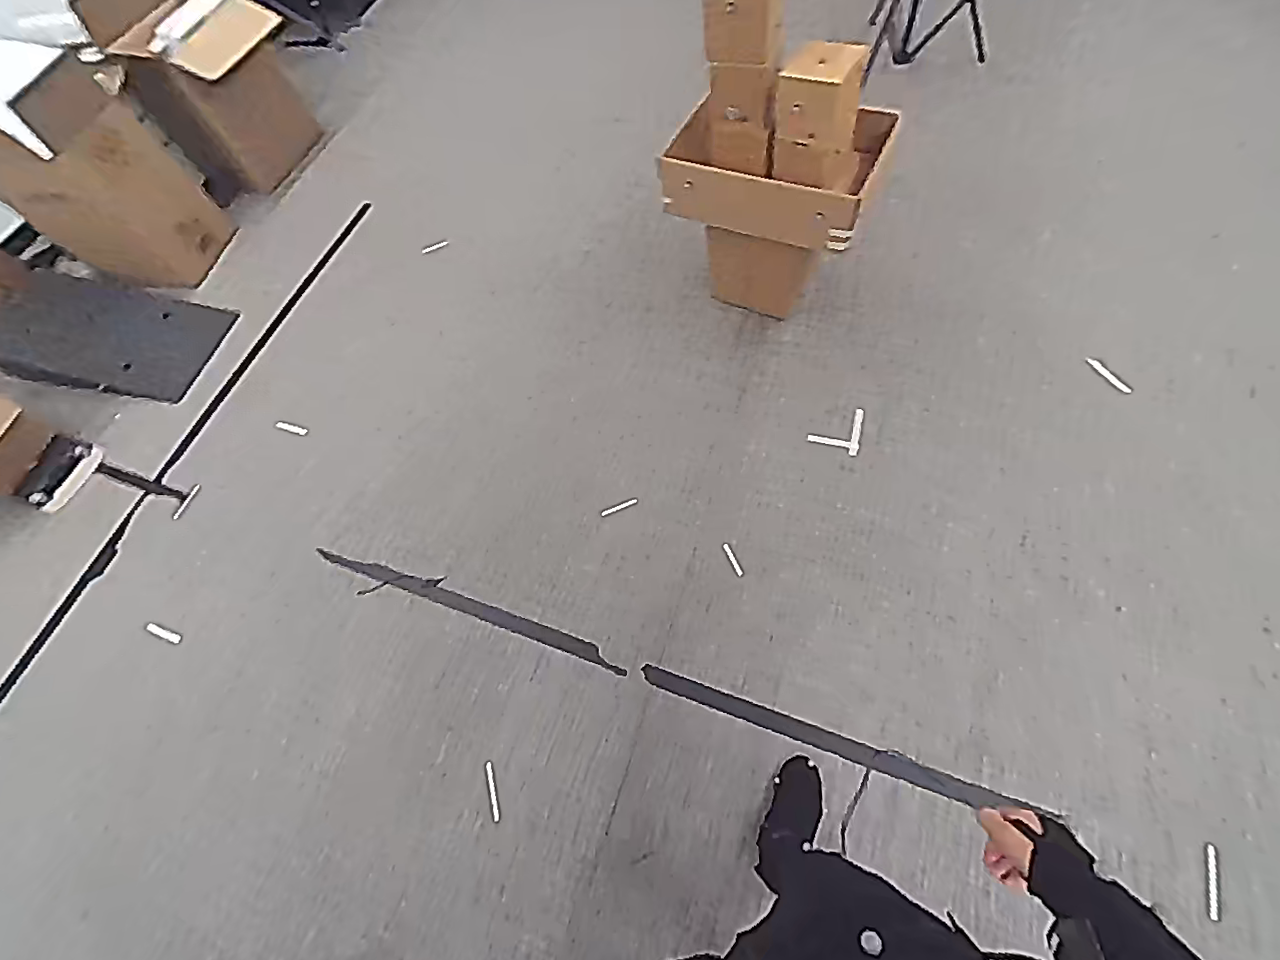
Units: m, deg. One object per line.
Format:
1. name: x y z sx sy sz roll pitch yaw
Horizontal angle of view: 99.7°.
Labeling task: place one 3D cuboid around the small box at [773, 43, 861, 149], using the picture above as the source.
1. small box: 0.469 -1.028 1.454 0.168 0.176 0.179 26 69 22

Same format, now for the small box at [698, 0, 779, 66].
1. small box: 0.254 -1.203 1.392 0.179 0.176 0.168 15 67 16
